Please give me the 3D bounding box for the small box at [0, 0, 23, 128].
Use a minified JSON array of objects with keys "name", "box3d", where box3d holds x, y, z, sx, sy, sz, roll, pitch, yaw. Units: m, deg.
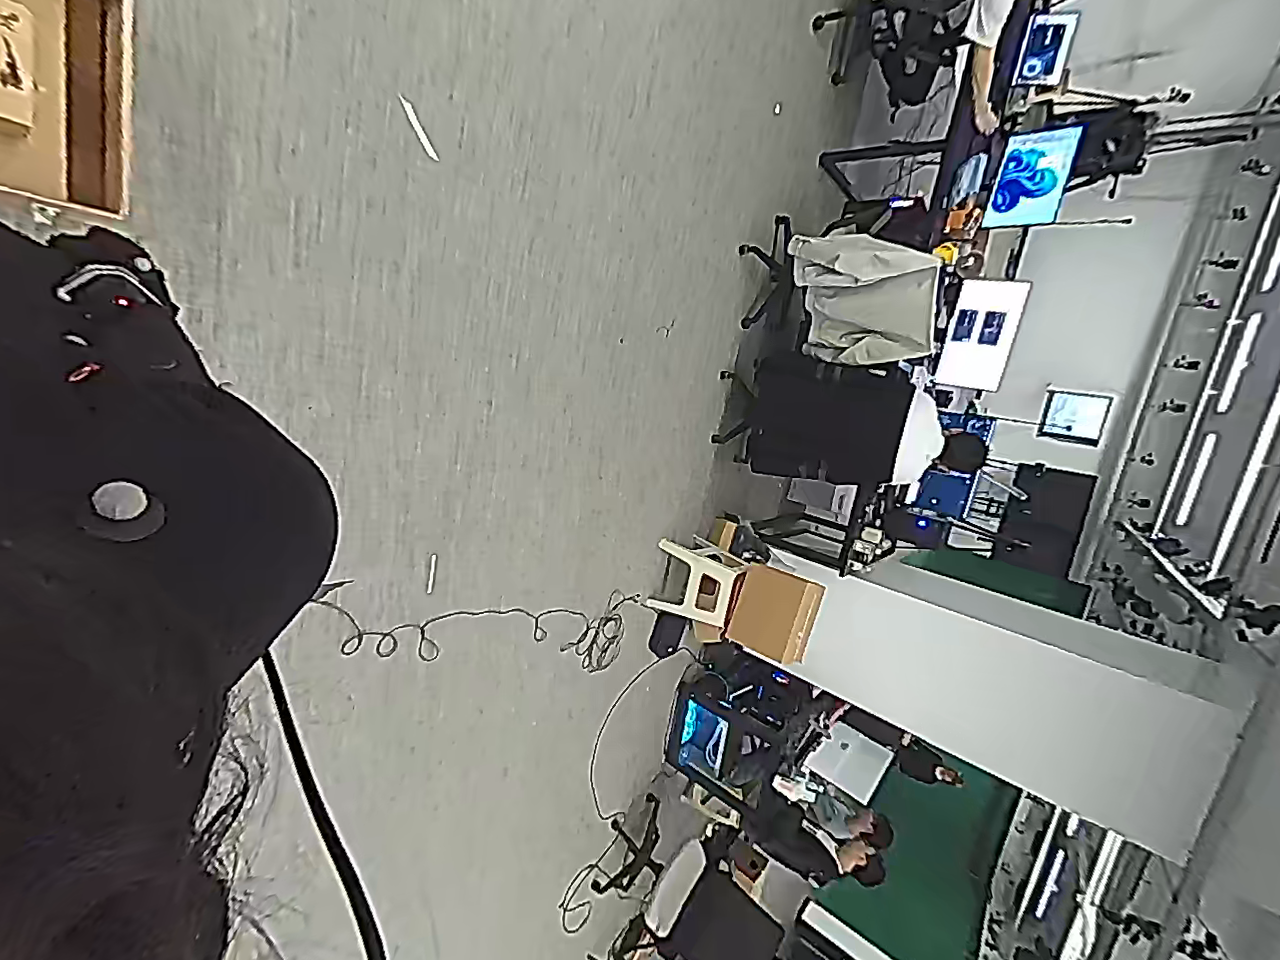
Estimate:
[{"name":"small box","box3d":[-1.039,-0.646,0.791,0.179,0.176,0.168,-1,106,-50]}]
